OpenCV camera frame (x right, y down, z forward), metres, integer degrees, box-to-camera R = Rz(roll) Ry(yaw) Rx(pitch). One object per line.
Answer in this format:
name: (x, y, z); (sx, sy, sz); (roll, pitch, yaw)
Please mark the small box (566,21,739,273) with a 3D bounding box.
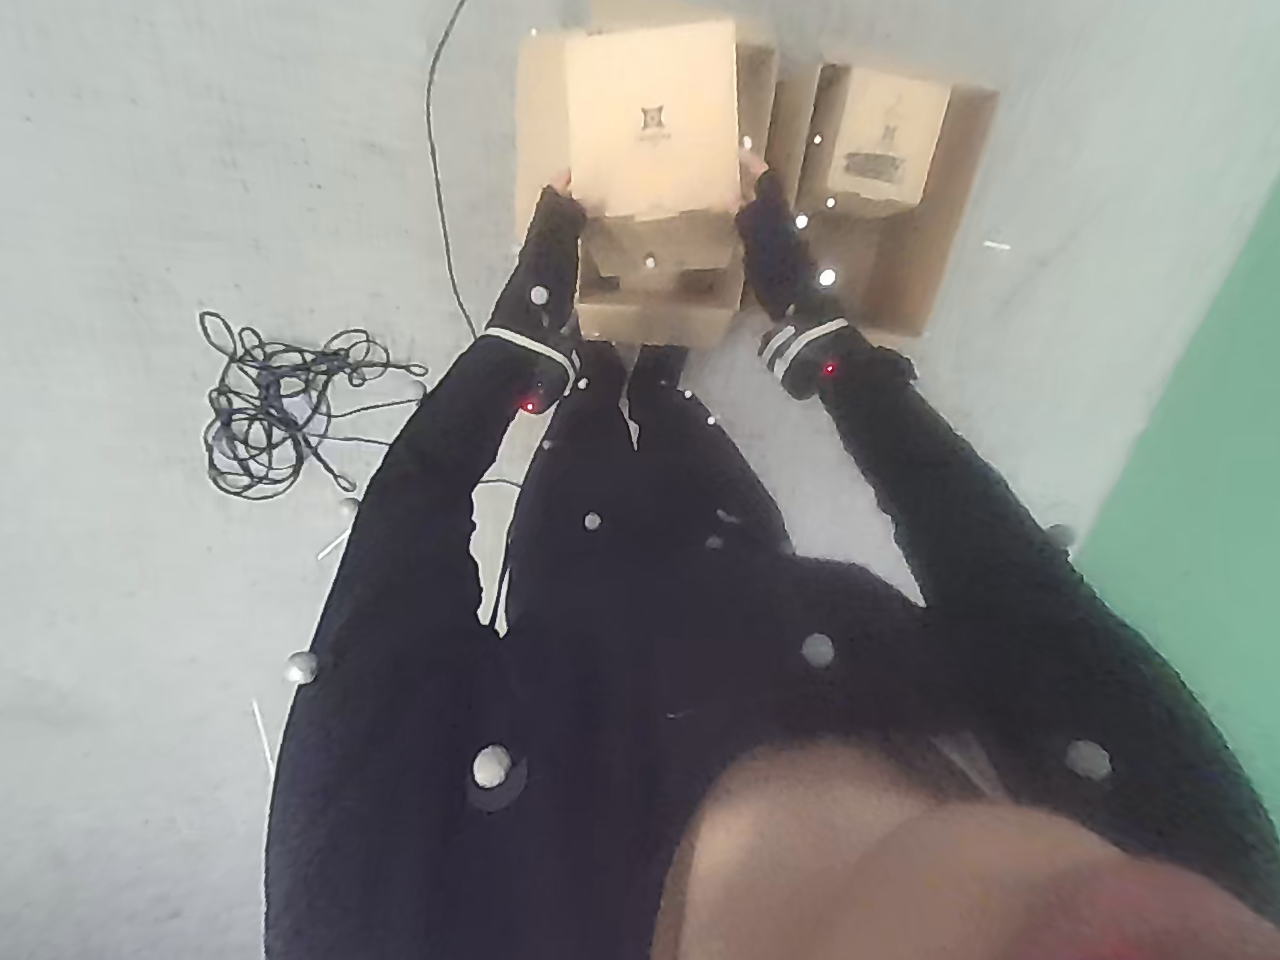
small box: (0.018, -0.348, 0.599); (0.168, 0.176, 0.179); (-2, 94, 6)
